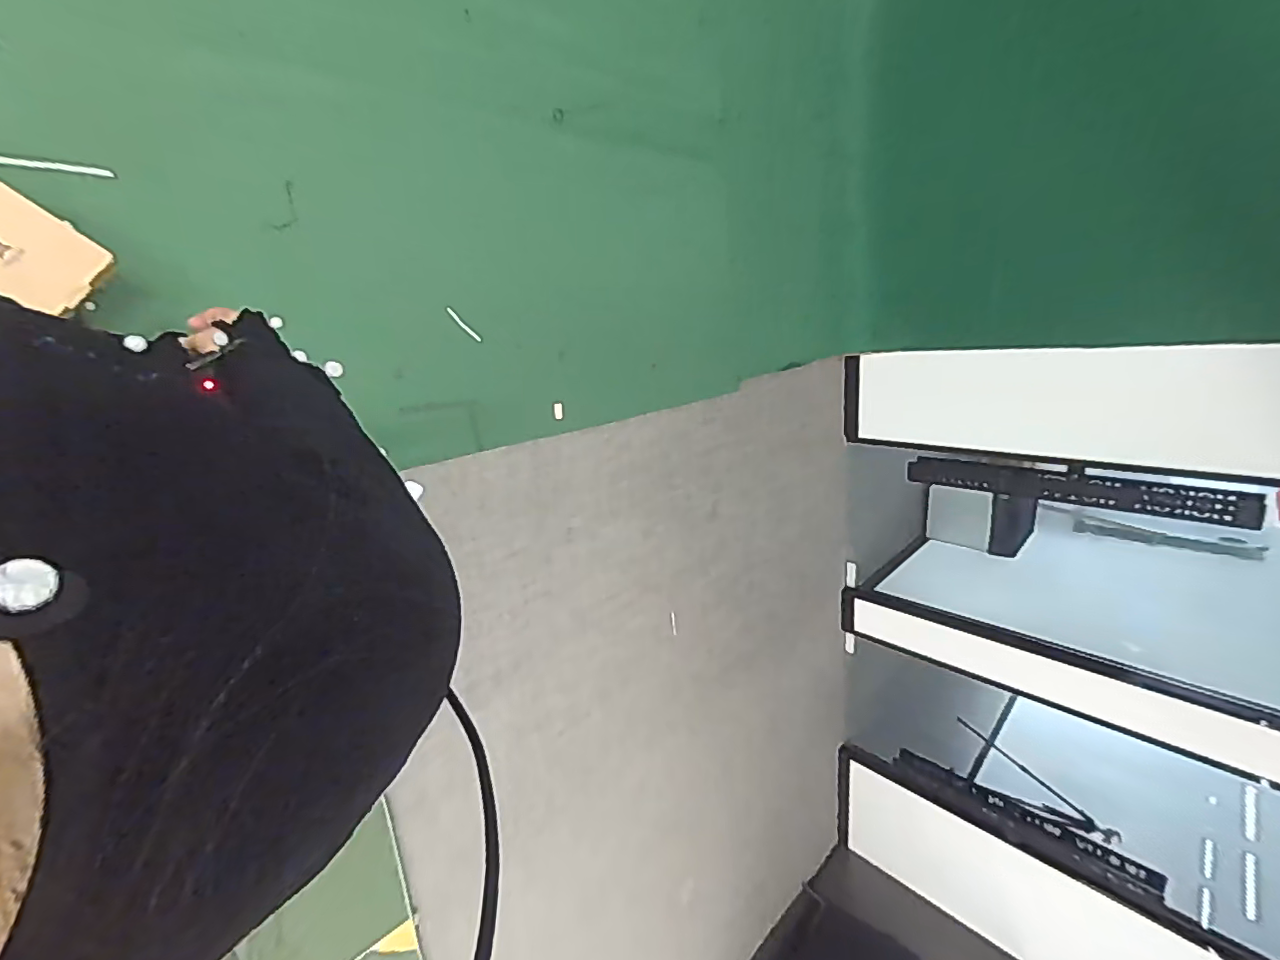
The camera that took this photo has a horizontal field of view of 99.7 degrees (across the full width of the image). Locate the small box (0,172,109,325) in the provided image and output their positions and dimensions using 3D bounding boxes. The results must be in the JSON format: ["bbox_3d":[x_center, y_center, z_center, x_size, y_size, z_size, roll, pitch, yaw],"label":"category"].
[{"bbox_3d":[-0.970,-0.357,0.824,0.179,0.176,0.168,43,69,-42],"label":"small box"}]
